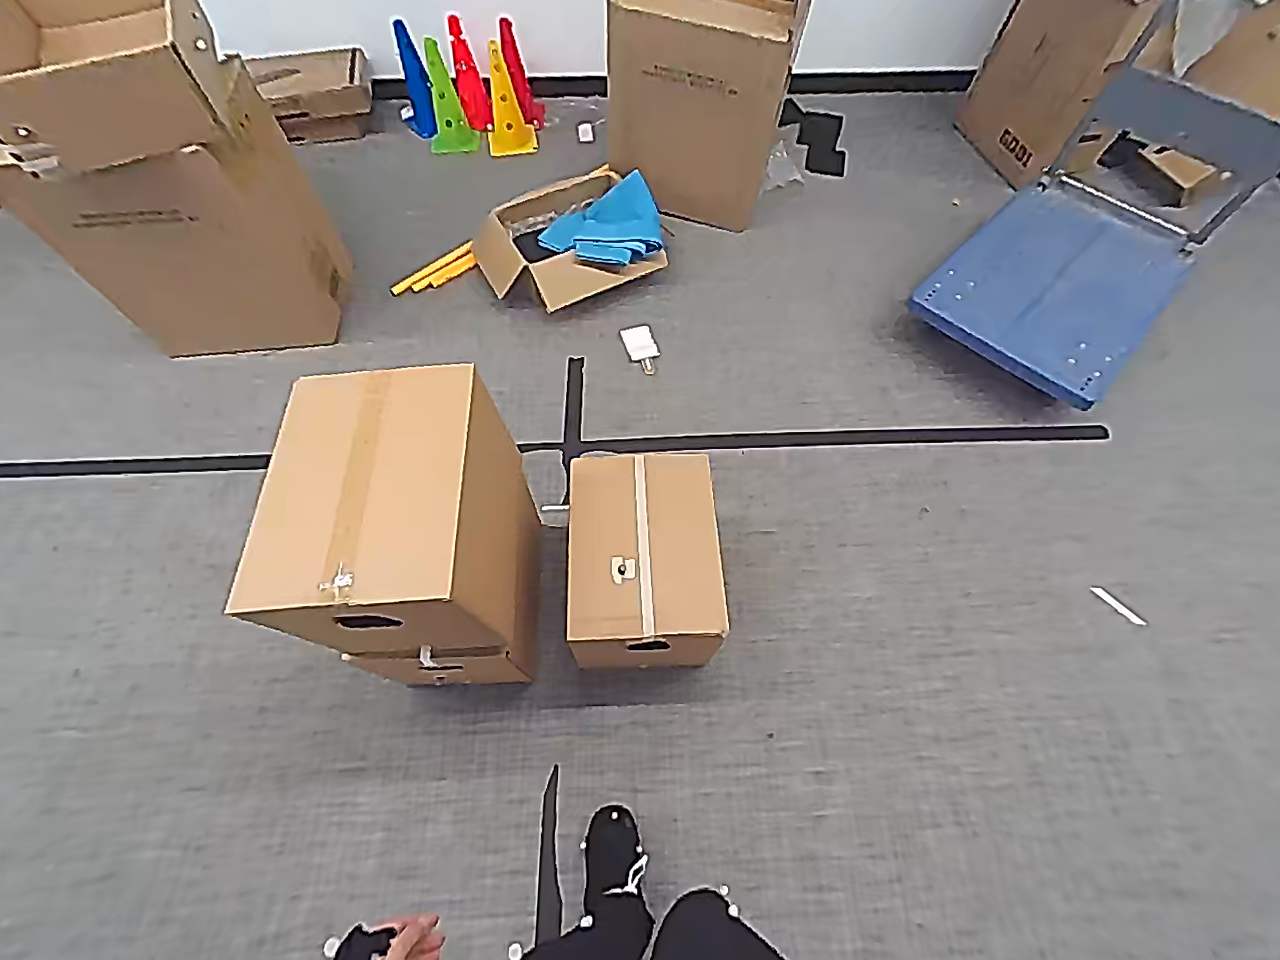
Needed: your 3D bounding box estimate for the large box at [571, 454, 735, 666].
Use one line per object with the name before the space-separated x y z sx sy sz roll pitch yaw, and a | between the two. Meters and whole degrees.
large box | 0.013 0.192 1.249 0.320 0.320 0.408 -3 62 -2
